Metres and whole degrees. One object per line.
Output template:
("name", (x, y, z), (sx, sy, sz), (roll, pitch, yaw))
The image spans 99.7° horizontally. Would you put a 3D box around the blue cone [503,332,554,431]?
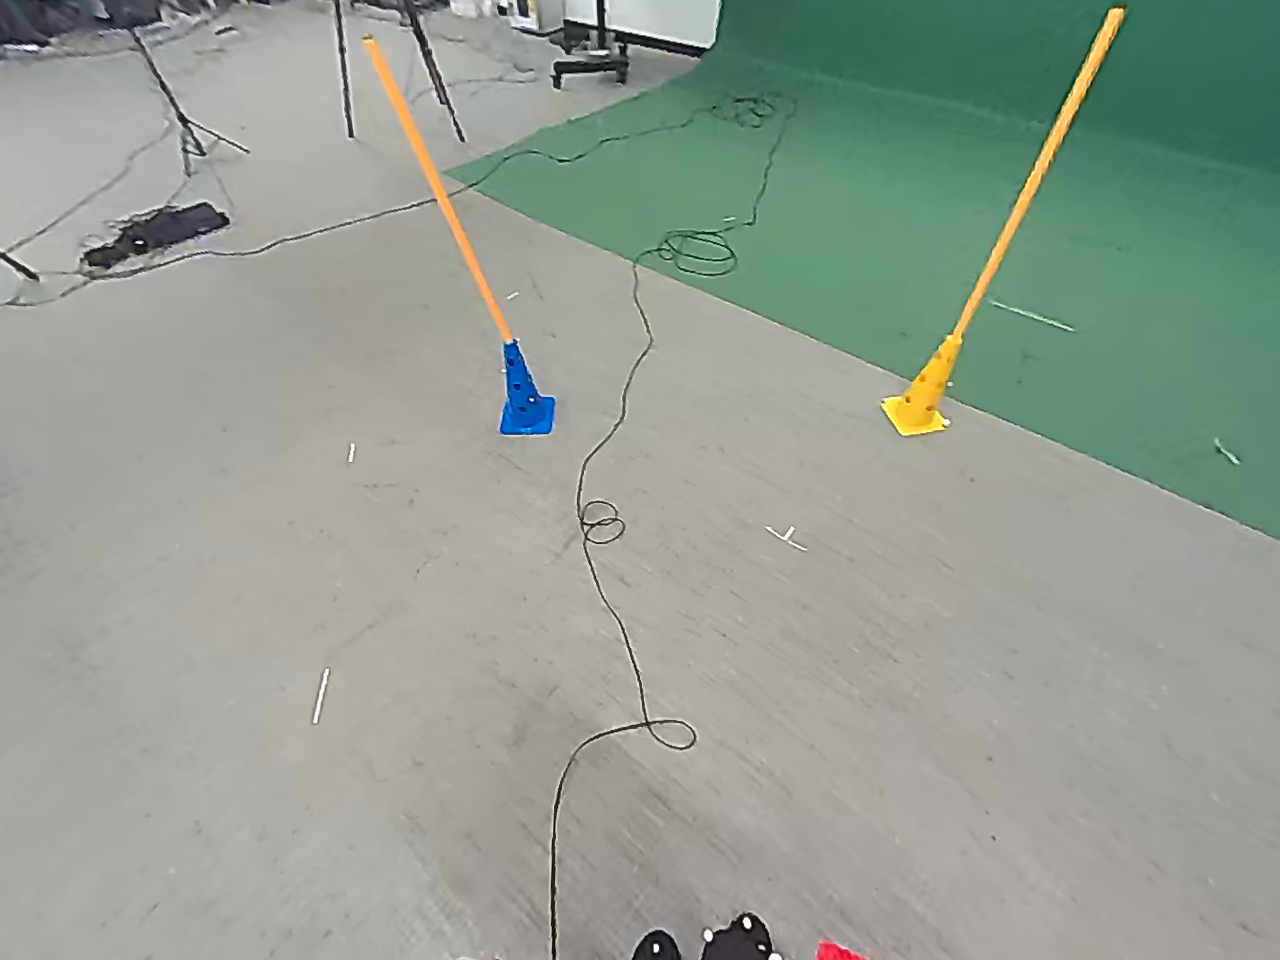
("blue cone", (-0.431, -0.359, 1.939), (0.193, 0.380, 0.192), (-3, 52, 0))
